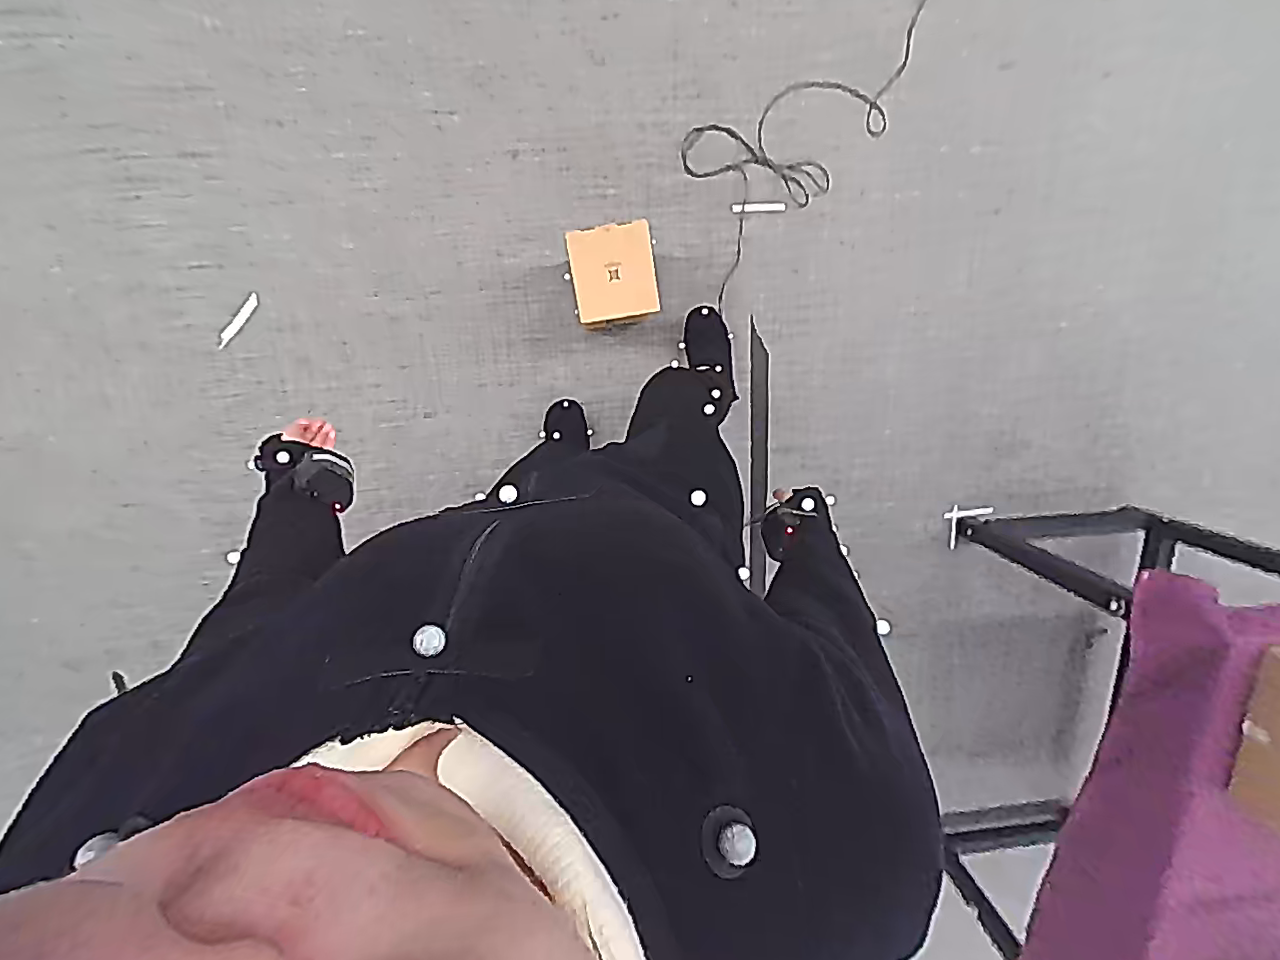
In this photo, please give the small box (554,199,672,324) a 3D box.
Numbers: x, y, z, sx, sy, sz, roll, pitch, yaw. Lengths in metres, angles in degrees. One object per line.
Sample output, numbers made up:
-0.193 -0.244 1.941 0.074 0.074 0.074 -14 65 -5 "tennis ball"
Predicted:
-0.051 -0.441 1.104 0.179 0.176 0.168 -11 86 16 "small box"
